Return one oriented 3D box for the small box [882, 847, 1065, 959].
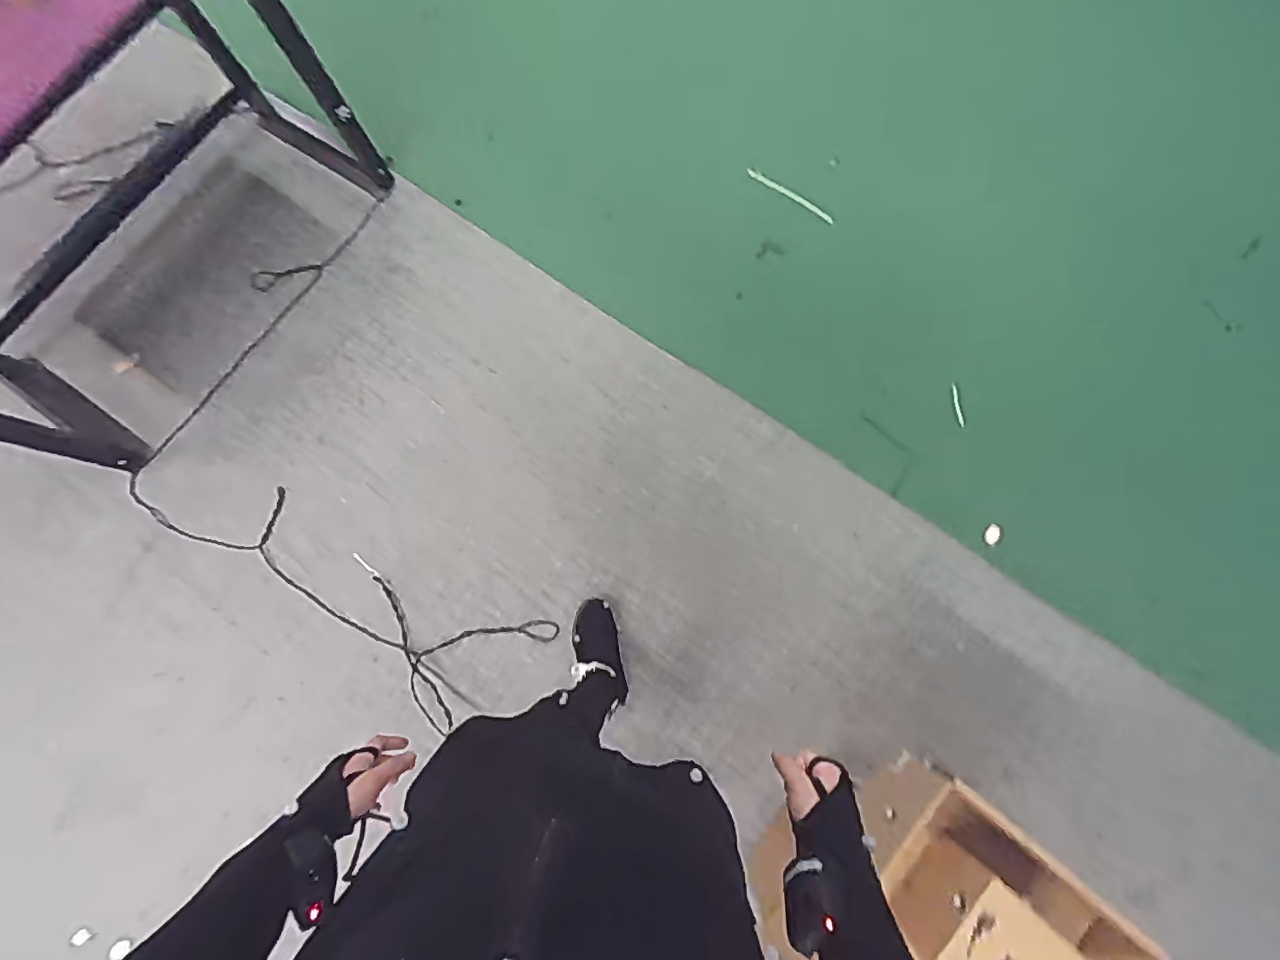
[{"bbox_3d":[0.522,0.727,0.841,0.179,0.176,0.168,42,81,9],"label":"small box"}]
